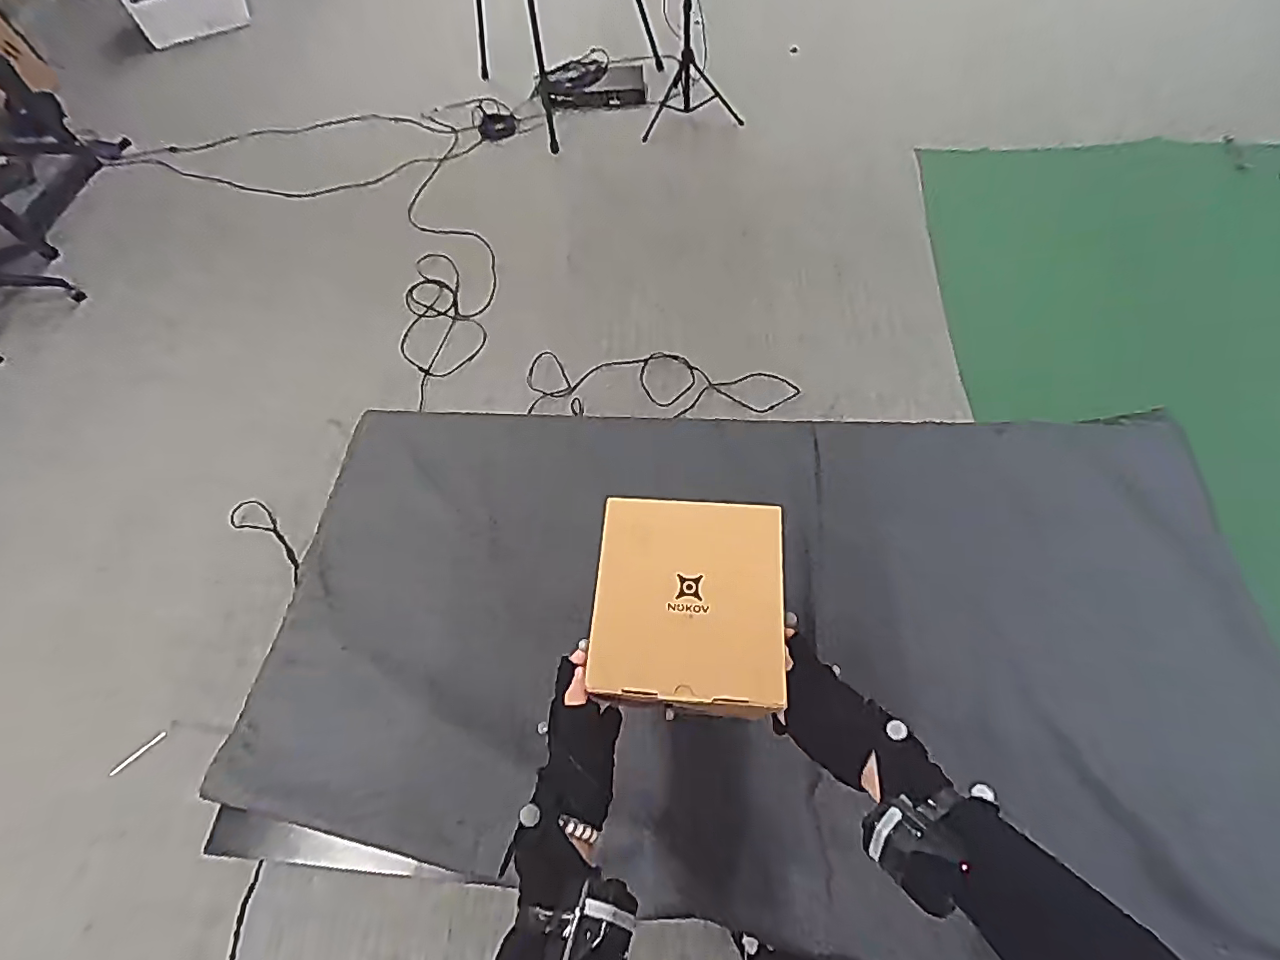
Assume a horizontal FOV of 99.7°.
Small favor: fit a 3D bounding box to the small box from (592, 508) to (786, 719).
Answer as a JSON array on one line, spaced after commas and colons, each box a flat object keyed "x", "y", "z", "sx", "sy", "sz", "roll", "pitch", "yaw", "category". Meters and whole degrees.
[{"x": 0.050, "y": 0.144, "z": 0.559, "sx": 0.168, "sy": 0.176, "sz": 0.179, "roll": 3, "pitch": 65, "yaw": 5, "category": "small box"}]
